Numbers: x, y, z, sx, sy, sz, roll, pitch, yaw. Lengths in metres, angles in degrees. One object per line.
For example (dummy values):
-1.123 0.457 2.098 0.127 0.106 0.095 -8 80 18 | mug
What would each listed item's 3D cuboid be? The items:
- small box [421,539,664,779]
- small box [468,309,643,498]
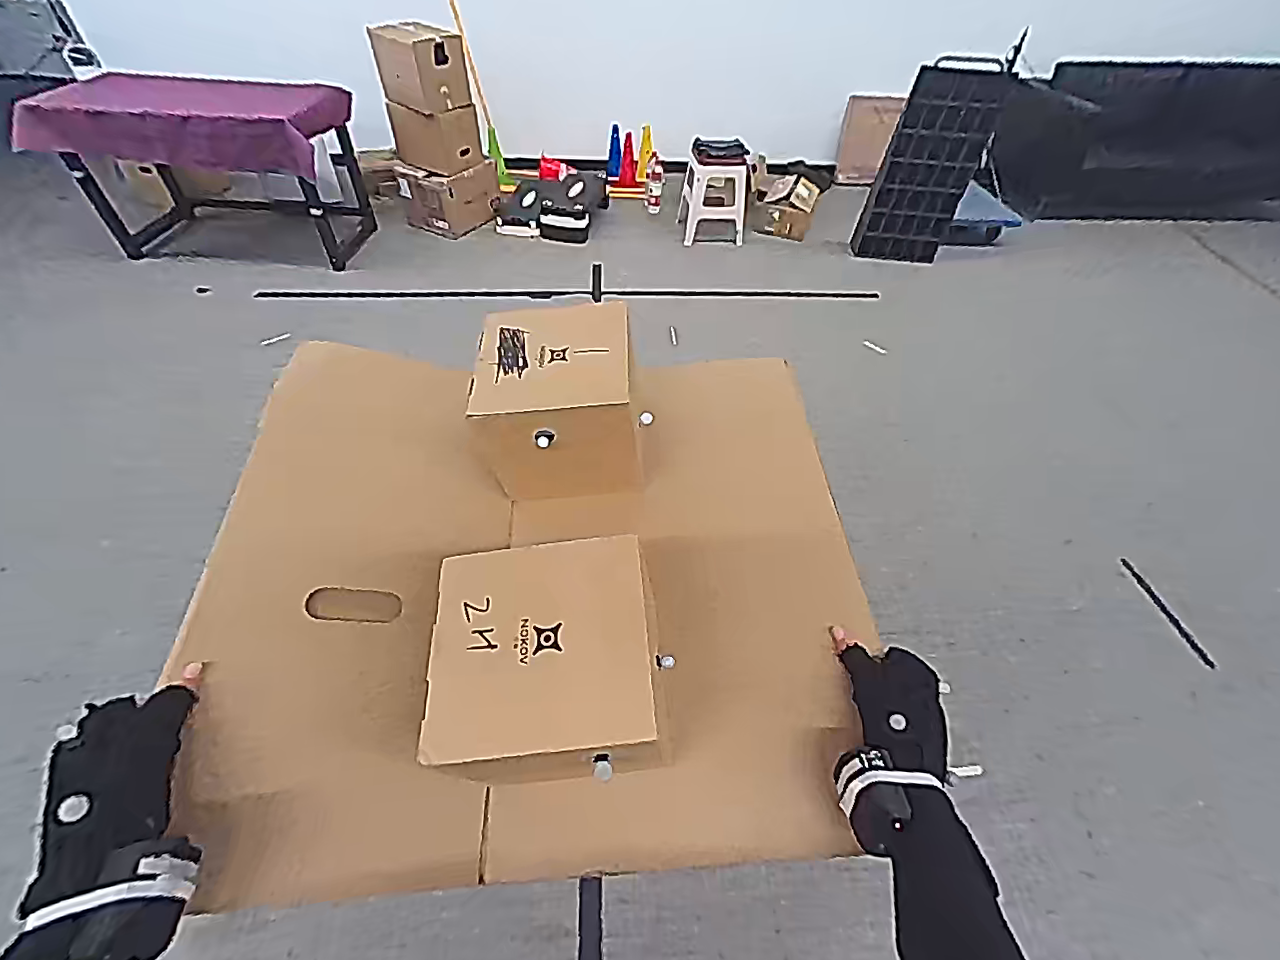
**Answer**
-0.072 0.172 0.501 0.179 0.176 0.168 -7 55 3 | small box
-0.092 -0.089 0.680 0.179 0.176 0.168 -4 56 4 | small box
